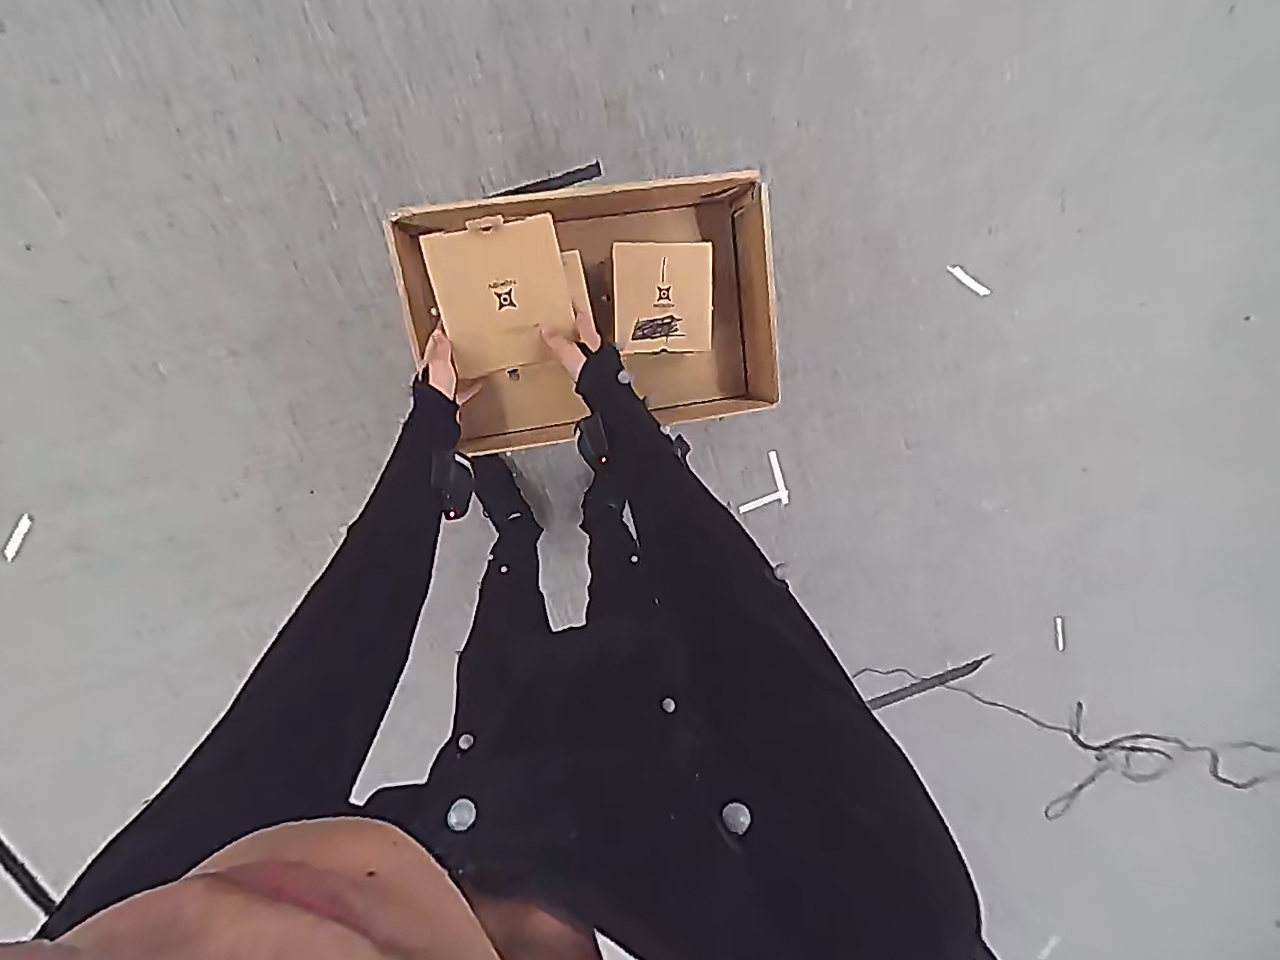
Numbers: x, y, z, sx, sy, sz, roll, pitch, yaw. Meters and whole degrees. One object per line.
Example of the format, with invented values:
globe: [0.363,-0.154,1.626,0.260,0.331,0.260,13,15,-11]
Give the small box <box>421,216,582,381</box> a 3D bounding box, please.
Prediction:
small box: [-0.187,-0.241,0.755,0.168,0.176,0.179,-14,103,-8]
